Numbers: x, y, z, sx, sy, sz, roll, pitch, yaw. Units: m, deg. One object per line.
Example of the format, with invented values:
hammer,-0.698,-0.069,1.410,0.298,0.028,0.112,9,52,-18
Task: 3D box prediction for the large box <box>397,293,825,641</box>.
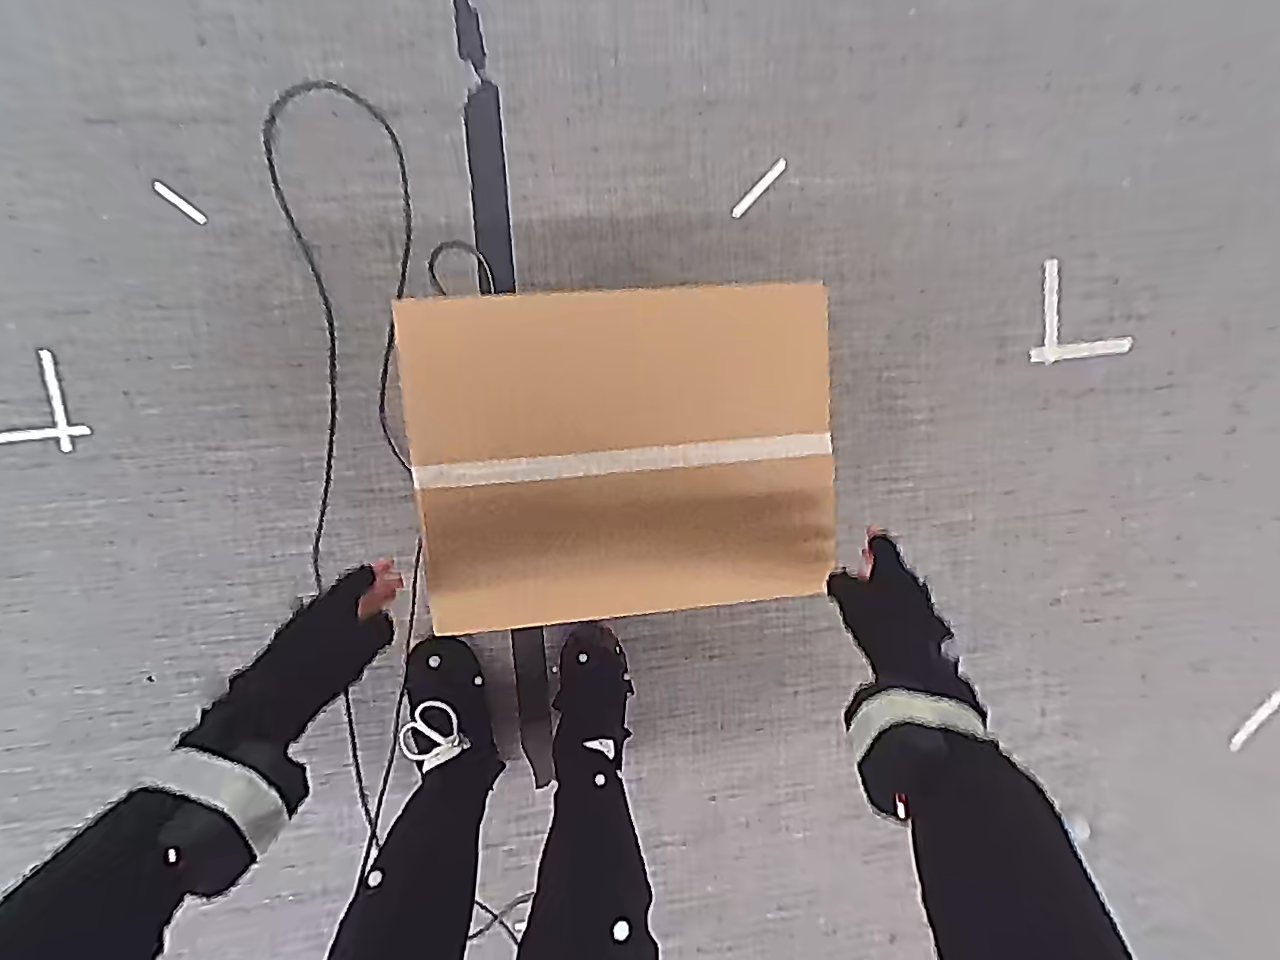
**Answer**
large box,-0.029,-0.031,0.675,0.408,0.320,0.320,-5,97,-6
